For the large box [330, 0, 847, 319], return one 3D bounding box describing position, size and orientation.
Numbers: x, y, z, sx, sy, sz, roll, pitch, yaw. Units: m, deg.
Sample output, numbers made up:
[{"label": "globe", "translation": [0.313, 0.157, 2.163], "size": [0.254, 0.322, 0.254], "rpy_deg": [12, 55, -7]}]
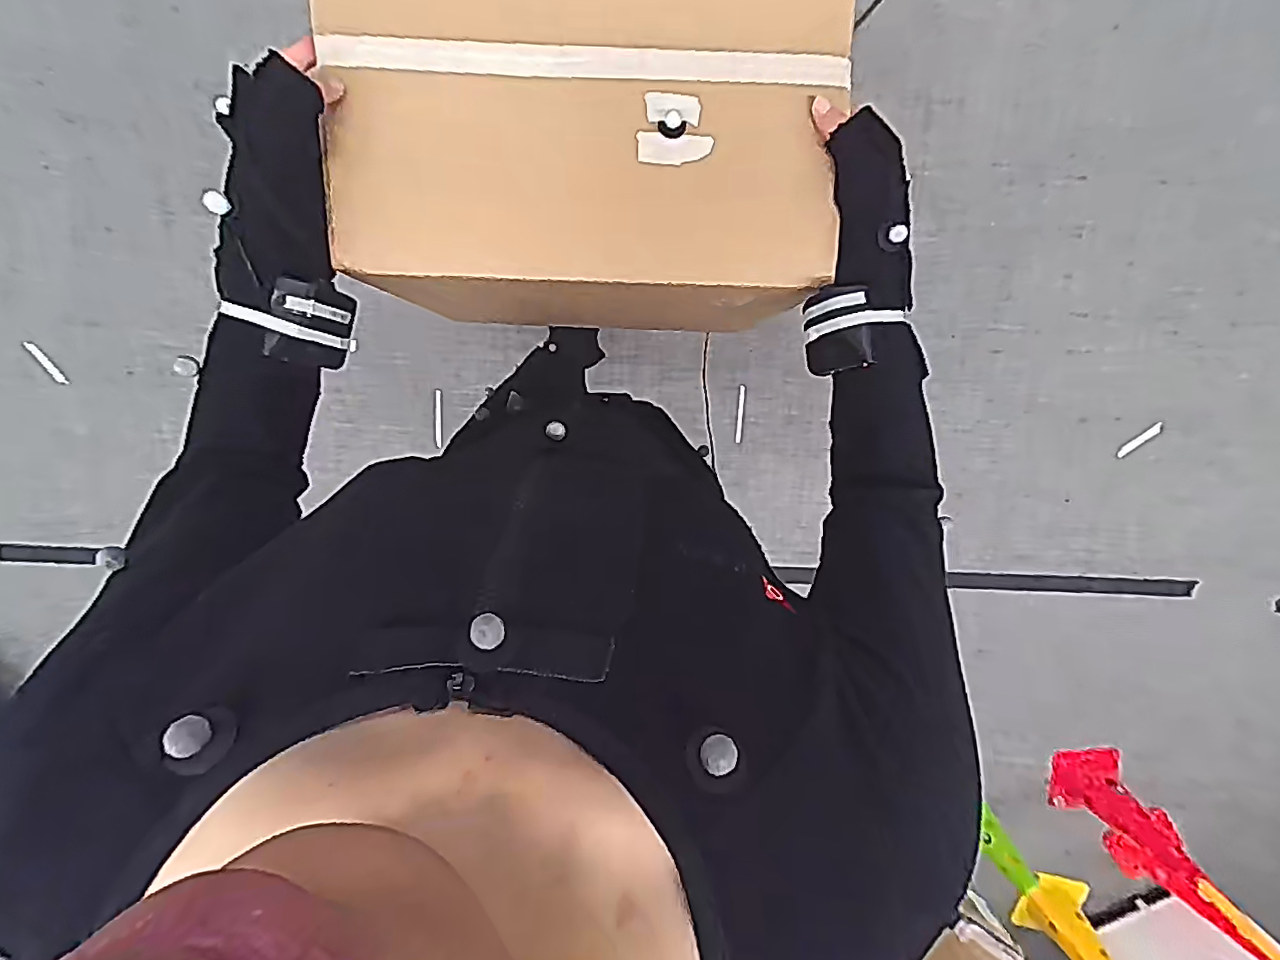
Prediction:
[{"label": "large box", "translation": [-0.044, -0.351, 0.568], "size": [0.408, 0.320, 0.320], "rpy_deg": [1, 99, -2]}]
